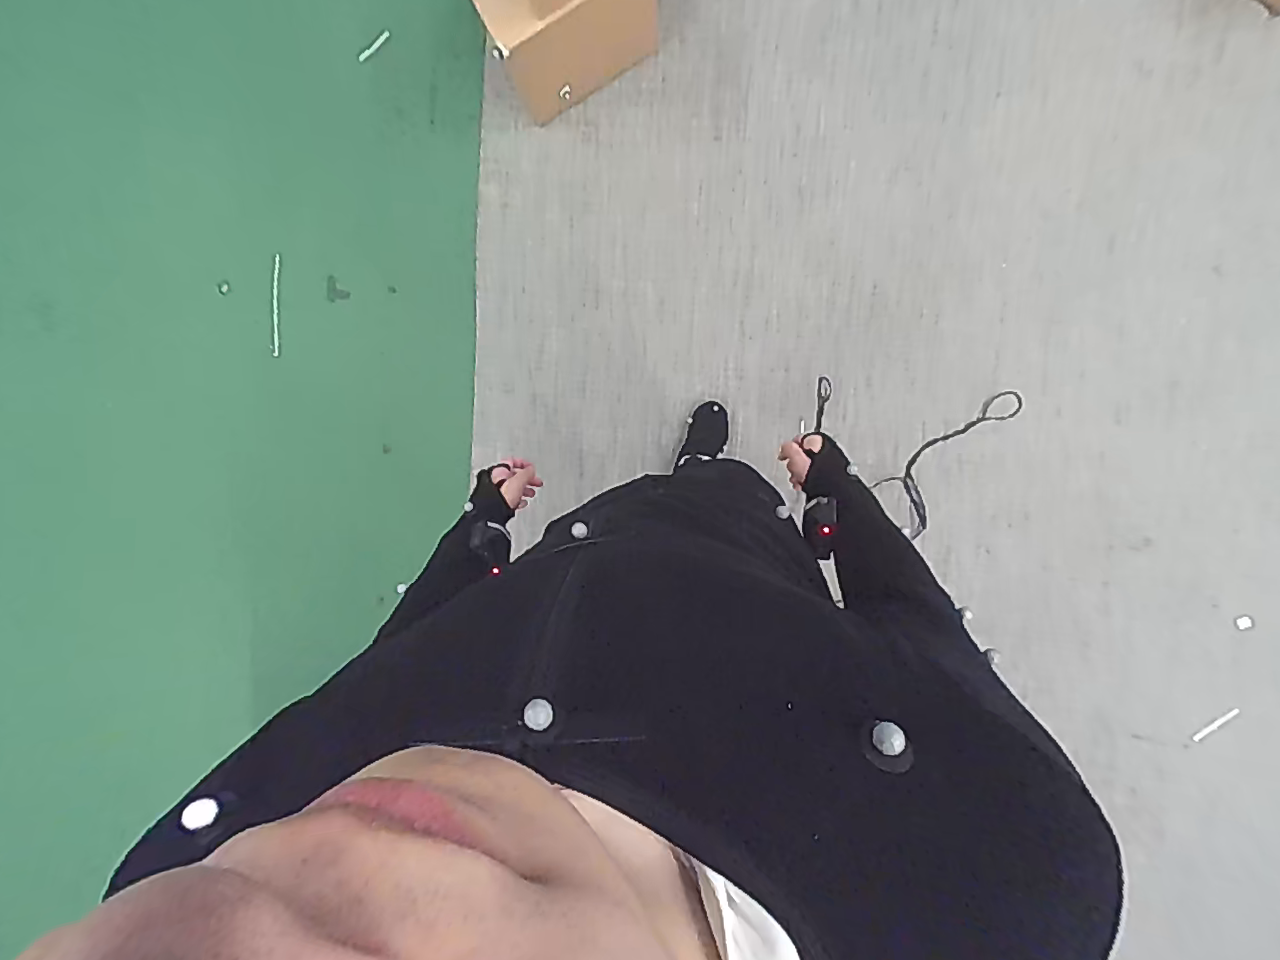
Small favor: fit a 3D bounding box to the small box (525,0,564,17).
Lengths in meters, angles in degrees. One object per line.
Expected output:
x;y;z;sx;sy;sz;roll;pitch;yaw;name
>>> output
-0.206;-1.148;1.136;0.179;0.176;0.168;-27;92;8;small box
